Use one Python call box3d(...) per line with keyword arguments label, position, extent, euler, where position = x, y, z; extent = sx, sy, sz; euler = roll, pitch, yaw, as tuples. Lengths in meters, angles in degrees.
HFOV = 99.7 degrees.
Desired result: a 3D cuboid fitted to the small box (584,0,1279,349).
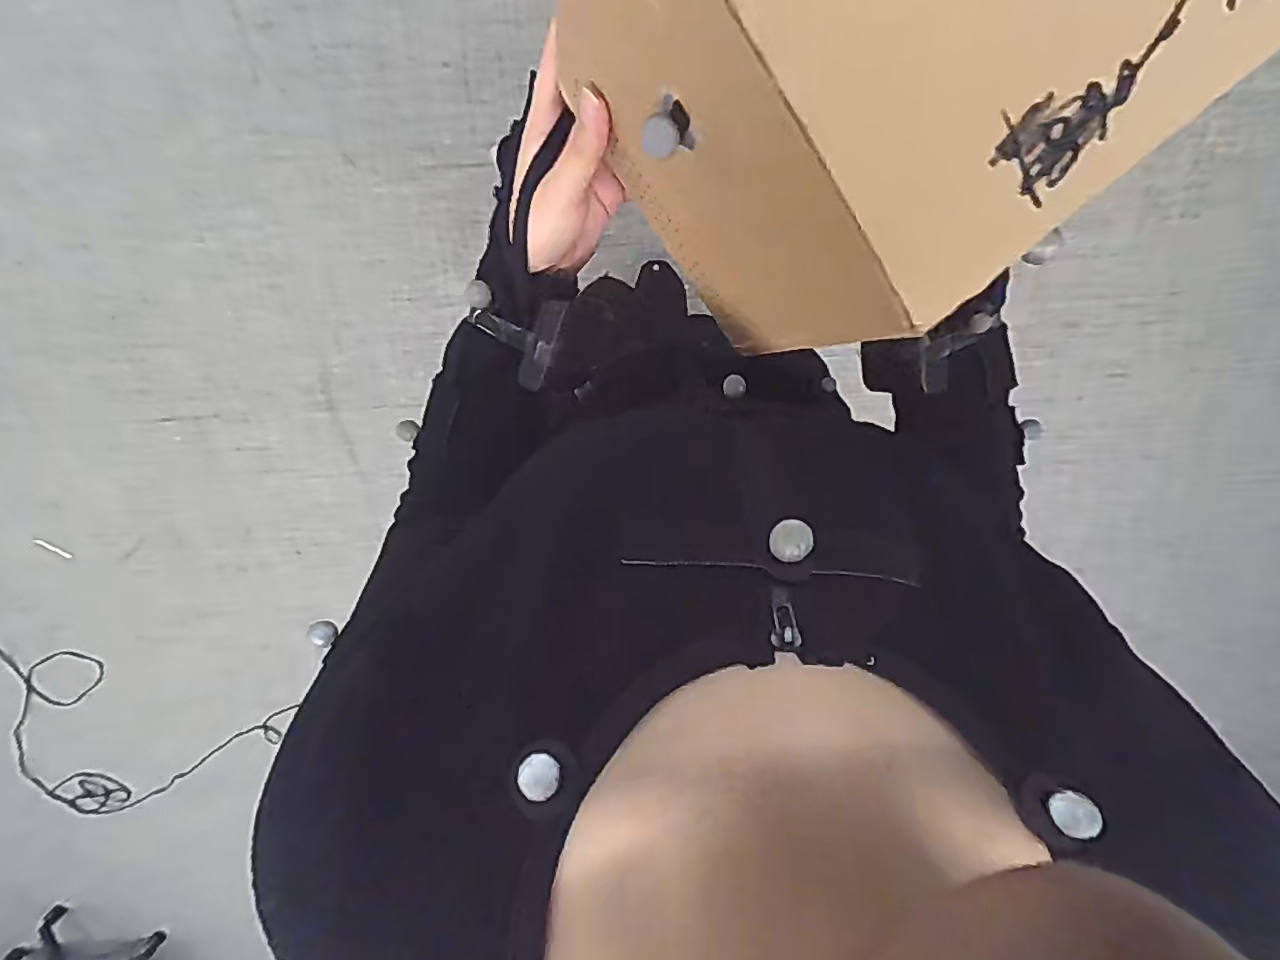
box3d(label="small box", position=(0.087, -0.174, 0.232), extent=(0.168, 0.176, 0.179), euler=(-39, 102, 1))
